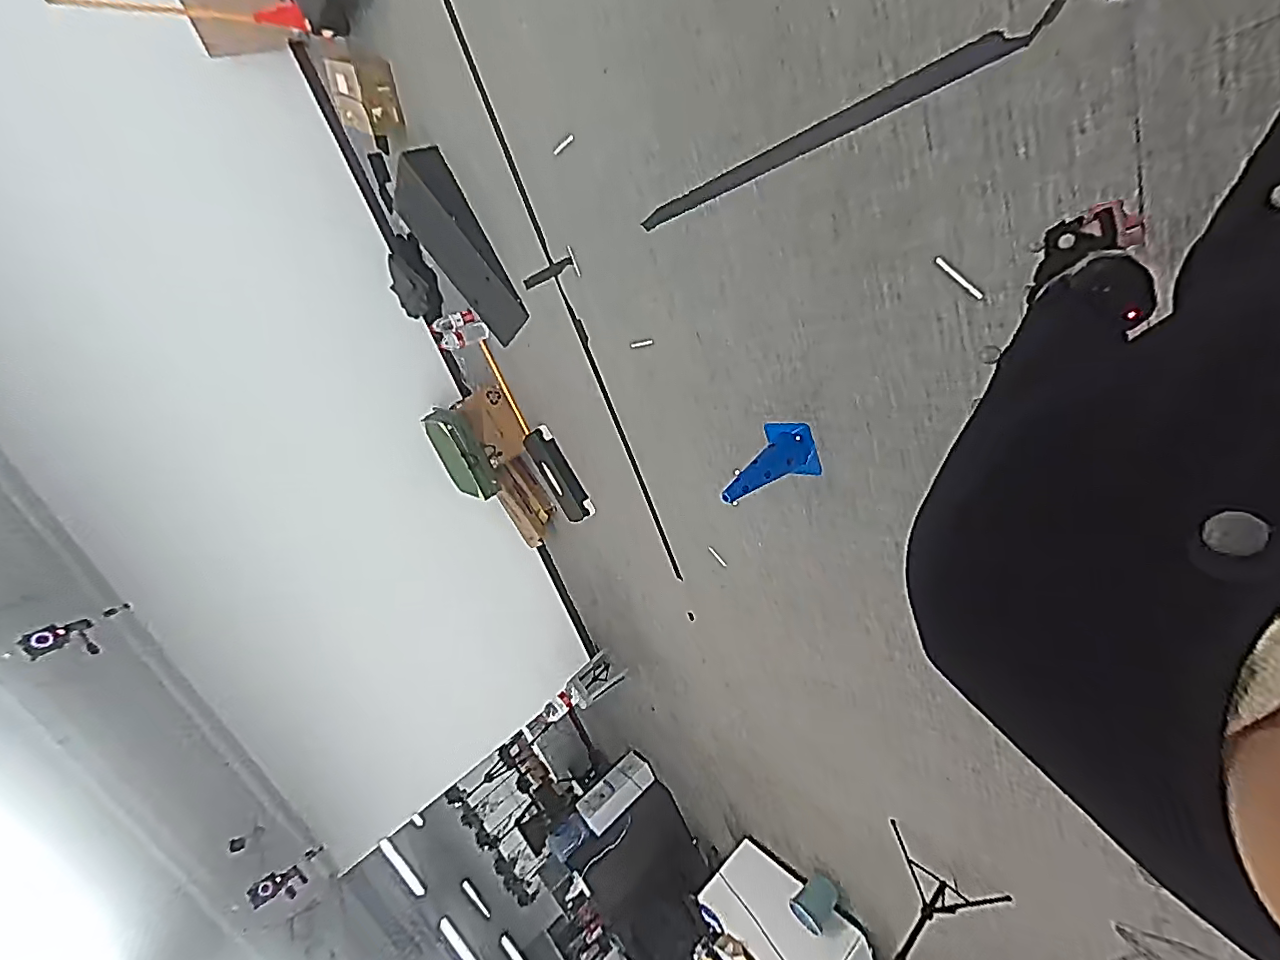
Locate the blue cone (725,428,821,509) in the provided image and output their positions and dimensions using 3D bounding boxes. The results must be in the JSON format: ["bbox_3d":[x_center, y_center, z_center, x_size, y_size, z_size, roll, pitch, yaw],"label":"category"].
[{"bbox_3d":[0.420,-0.018,1.830,0.193,0.380,0.192,9,126,55],"label":"blue cone"}]
